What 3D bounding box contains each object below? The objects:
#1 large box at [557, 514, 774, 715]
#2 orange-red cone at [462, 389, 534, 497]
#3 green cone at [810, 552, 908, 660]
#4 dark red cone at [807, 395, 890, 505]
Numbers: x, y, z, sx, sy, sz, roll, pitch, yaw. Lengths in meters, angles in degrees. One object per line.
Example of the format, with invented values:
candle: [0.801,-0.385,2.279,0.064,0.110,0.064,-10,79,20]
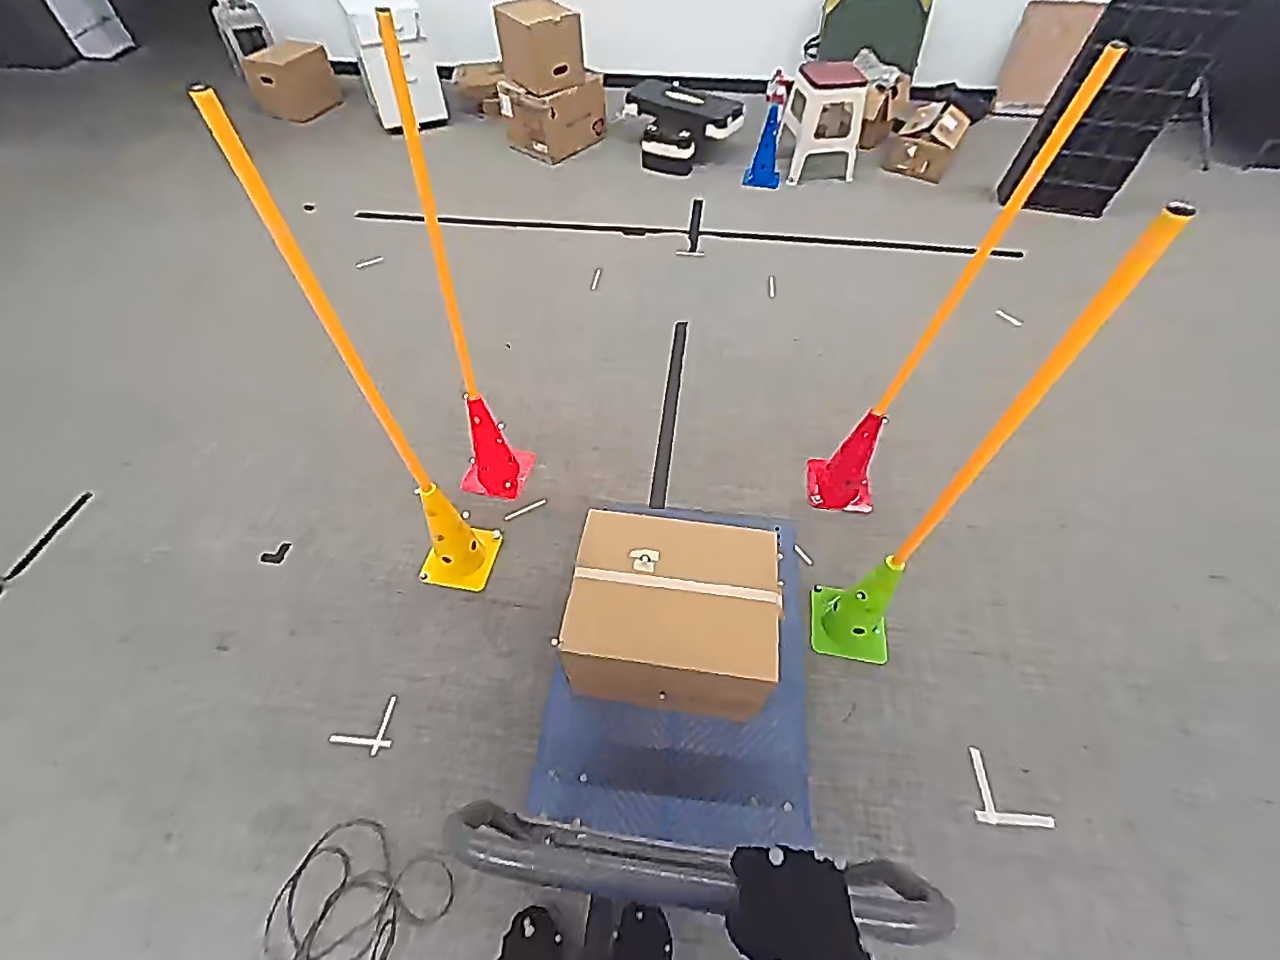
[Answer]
large box: [0.065,0.301,1.186,0.408,0.320,0.320,7,54,5]
orange-red cone: [-0.471,-0.142,1.686,0.198,0.360,0.199,13,53,7]
green cone: [0.581,0.290,1.376,0.202,0.368,0.200,10,54,5]
dark red cone: [0.662,-0.105,1.646,0.201,0.394,0.202,7,54,2]
